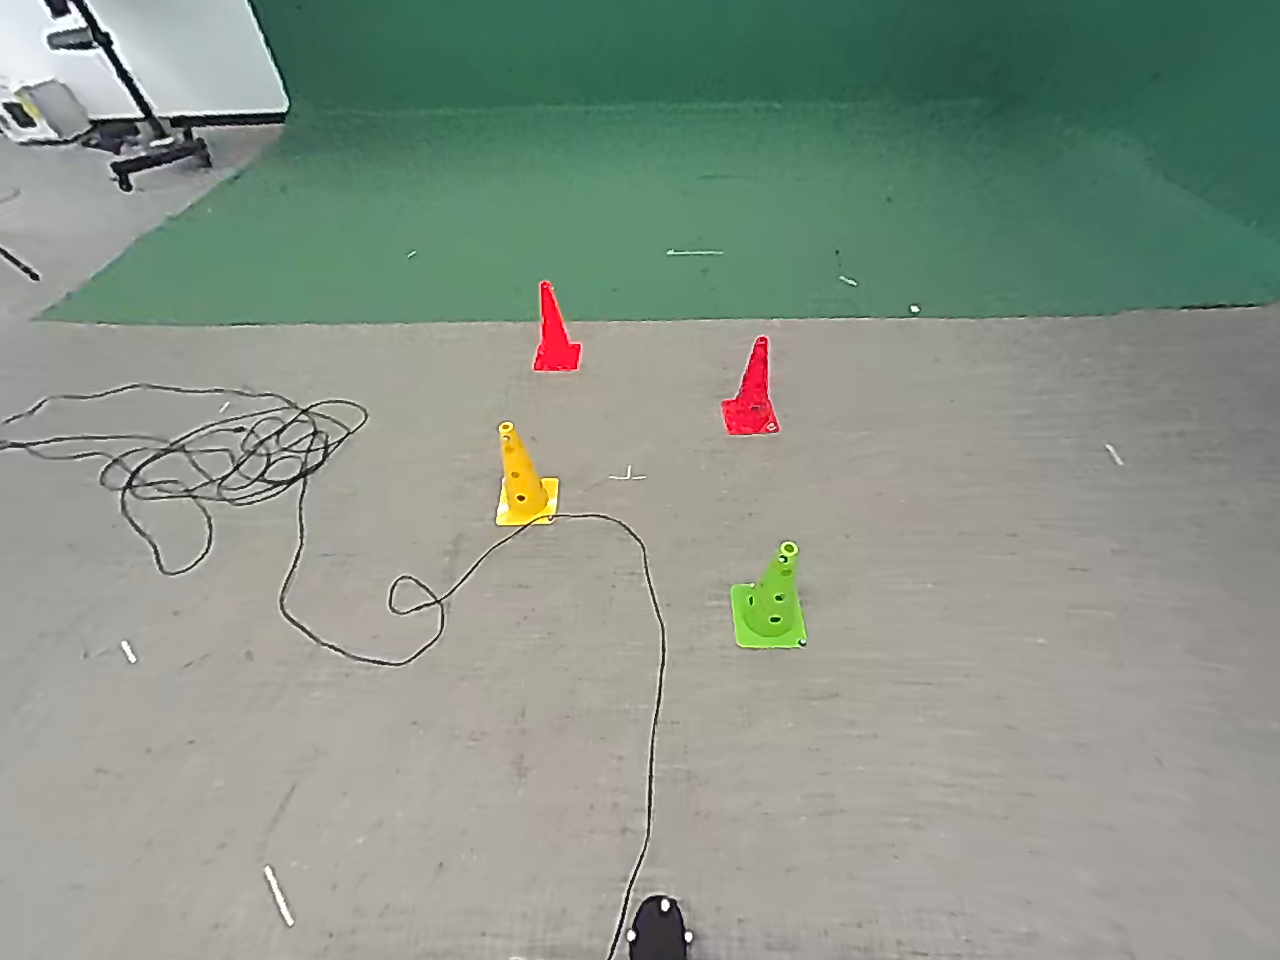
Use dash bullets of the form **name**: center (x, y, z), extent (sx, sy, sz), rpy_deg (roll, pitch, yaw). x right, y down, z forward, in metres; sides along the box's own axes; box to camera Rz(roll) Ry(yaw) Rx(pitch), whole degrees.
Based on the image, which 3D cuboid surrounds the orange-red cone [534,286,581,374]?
- **orange-red cone**: center (-0.374, -0.645, 2.283), extent (0.198, 0.360, 0.199), rpy_deg (-1, 50, 4)

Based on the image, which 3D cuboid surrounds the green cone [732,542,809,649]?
- **green cone**: center (0.367, 0.280, 1.442), extent (0.202, 0.368, 0.200), rpy_deg (-2, 48, 2)

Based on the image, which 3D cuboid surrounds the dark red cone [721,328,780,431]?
- **dark red cone**: center (0.420, -0.374, 1.978), extent (0.202, 0.394, 0.201), rpy_deg (-4, 48, -1)
